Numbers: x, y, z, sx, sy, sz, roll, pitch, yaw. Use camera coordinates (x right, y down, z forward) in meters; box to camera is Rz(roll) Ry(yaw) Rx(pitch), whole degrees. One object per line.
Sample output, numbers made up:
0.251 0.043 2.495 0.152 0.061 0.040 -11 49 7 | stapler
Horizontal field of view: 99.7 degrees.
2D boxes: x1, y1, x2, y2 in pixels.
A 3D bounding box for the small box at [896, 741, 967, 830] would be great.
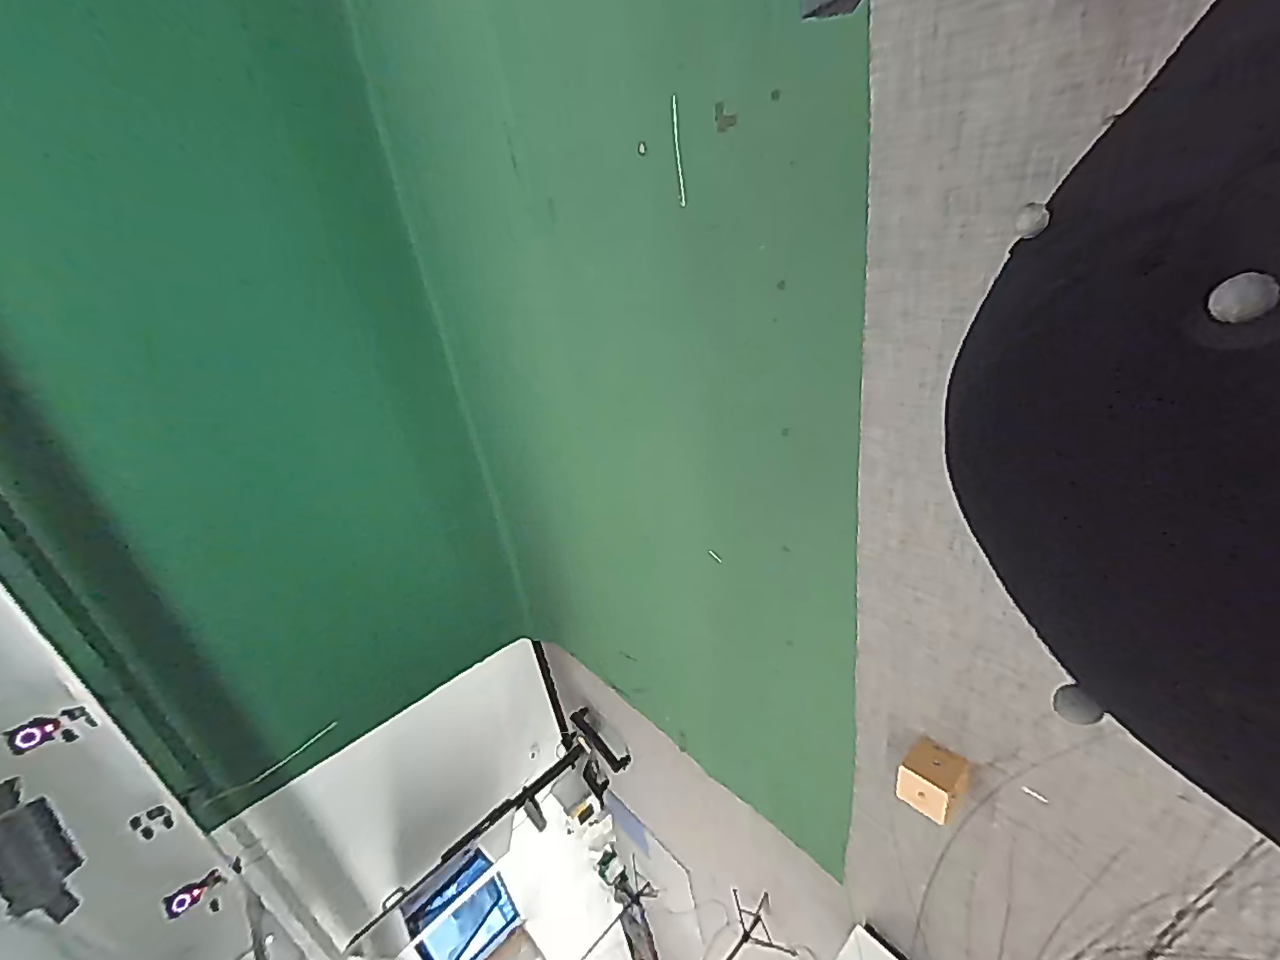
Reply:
1.029 1.066 1.906 0.168 0.176 0.179 22 128 47 | small box
